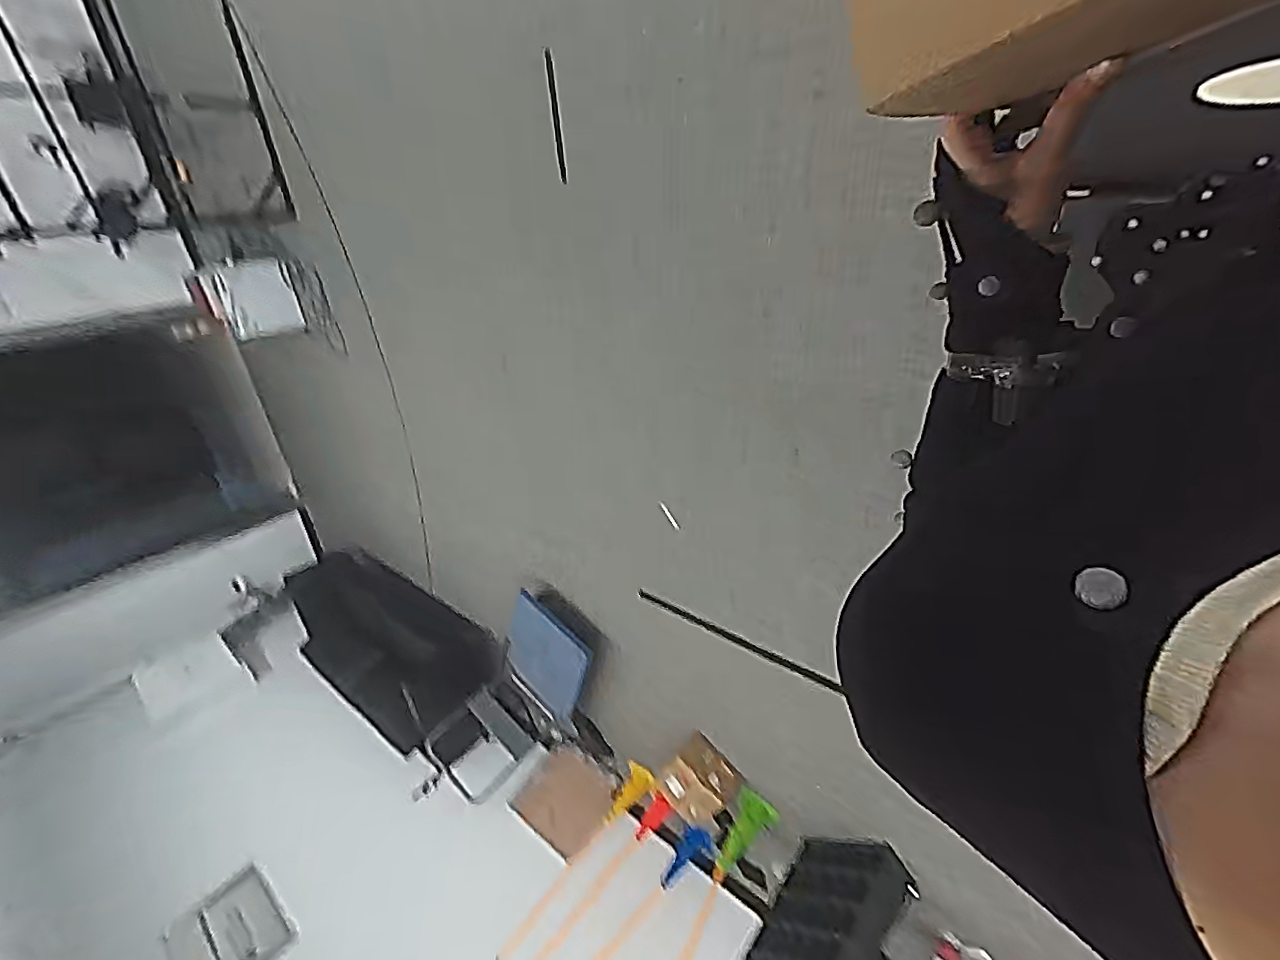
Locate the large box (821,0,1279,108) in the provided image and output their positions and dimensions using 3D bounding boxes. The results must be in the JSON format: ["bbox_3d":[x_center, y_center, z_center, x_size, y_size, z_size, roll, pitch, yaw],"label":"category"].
[{"bbox_3d":[0.284,-0.358,0.134,0.408,0.320,0.320,10,121,55],"label":"large box"}]

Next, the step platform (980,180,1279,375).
[{"bbox_3d":[1.037,-0.382,0.999,0.684,0.204,0.286,24,129,34],"label":"step platform"}]
